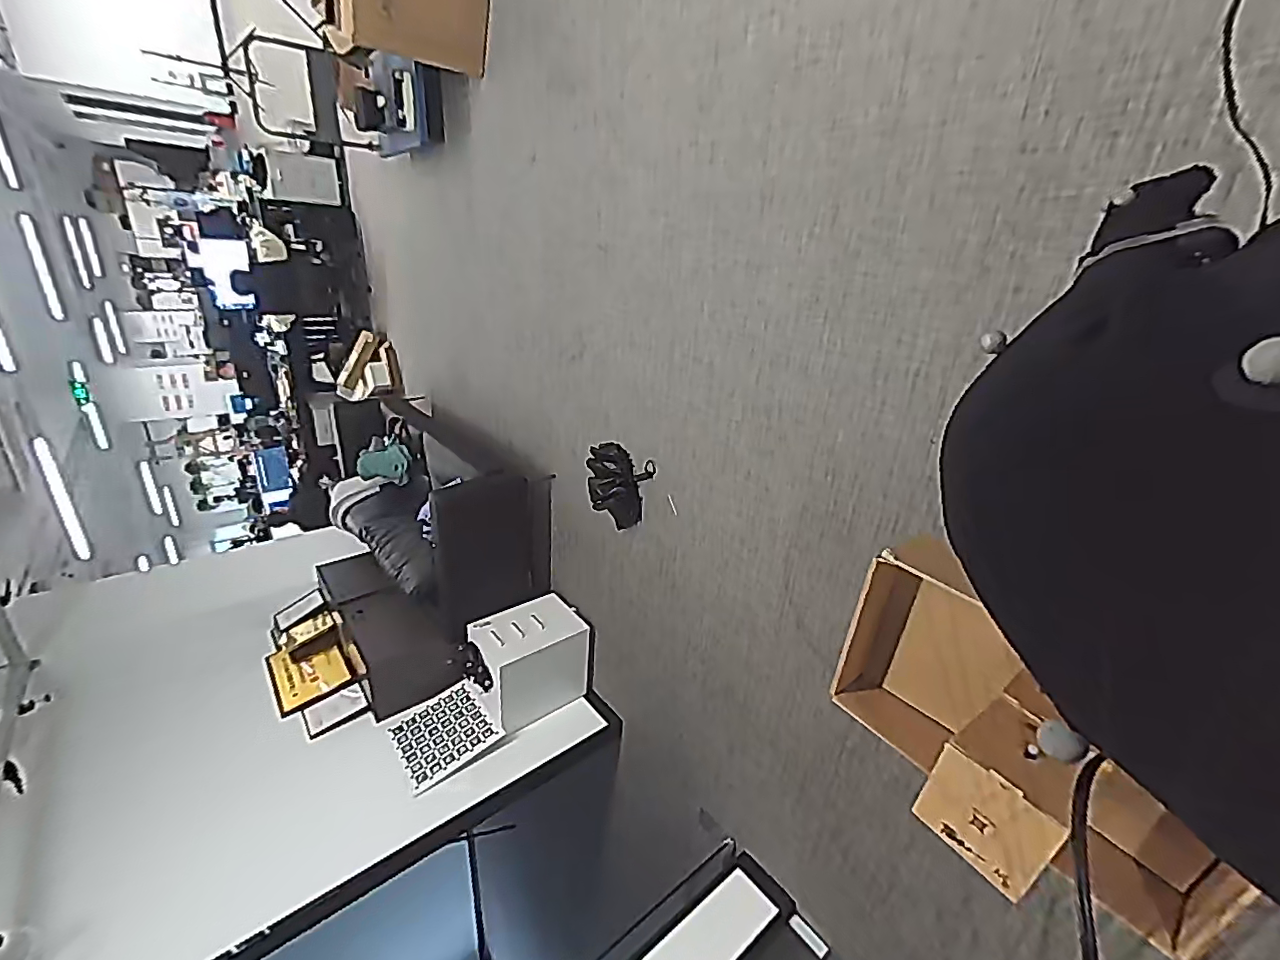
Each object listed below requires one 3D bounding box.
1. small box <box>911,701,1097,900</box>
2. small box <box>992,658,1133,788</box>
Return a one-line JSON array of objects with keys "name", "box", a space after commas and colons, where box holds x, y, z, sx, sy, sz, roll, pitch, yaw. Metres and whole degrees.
[{"name": "small box", "box": [0.569, 0.485, 0.845, 0.168, 0.176, 0.179, 36, 128, 44]}, {"name": "small box", "box": [0.701, 0.444, 0.933, 0.168, 0.176, 0.179, 36, 131, 44]}]
